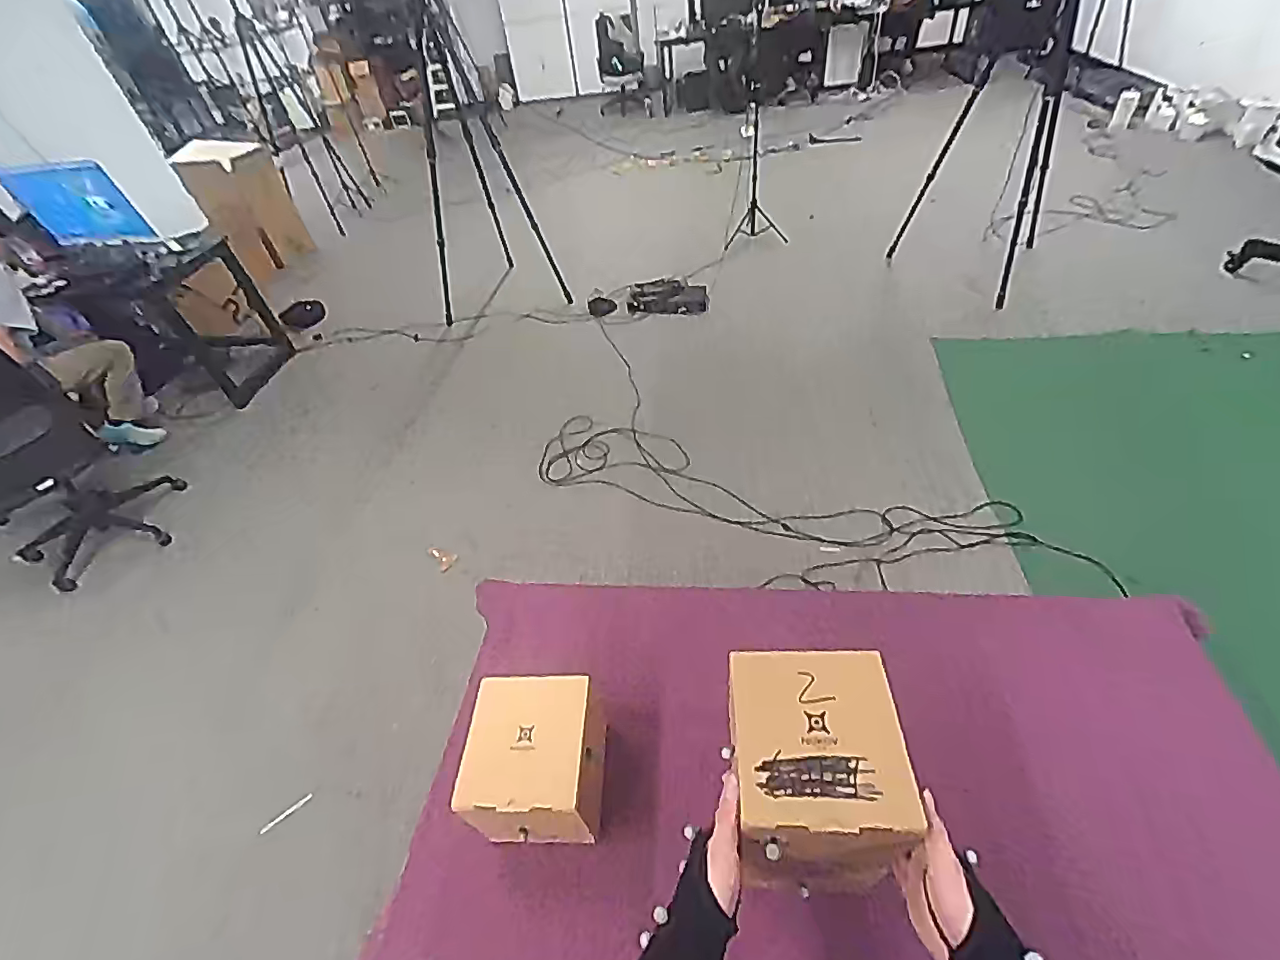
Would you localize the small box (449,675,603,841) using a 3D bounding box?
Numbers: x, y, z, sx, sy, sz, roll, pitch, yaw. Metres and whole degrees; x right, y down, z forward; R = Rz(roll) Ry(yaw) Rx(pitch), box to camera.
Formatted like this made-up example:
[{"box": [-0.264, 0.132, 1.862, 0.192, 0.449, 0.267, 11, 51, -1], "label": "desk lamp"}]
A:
[{"box": [-0.151, 0.406, 0.792, 0.168, 0.176, 0.179, -3, 46, 6], "label": "small box"}]

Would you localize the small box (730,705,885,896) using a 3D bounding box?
[{"box": [0.205, 0.422, 0.715, 0.168, 0.176, 0.179, -2, 45, 9], "label": "small box"}]
